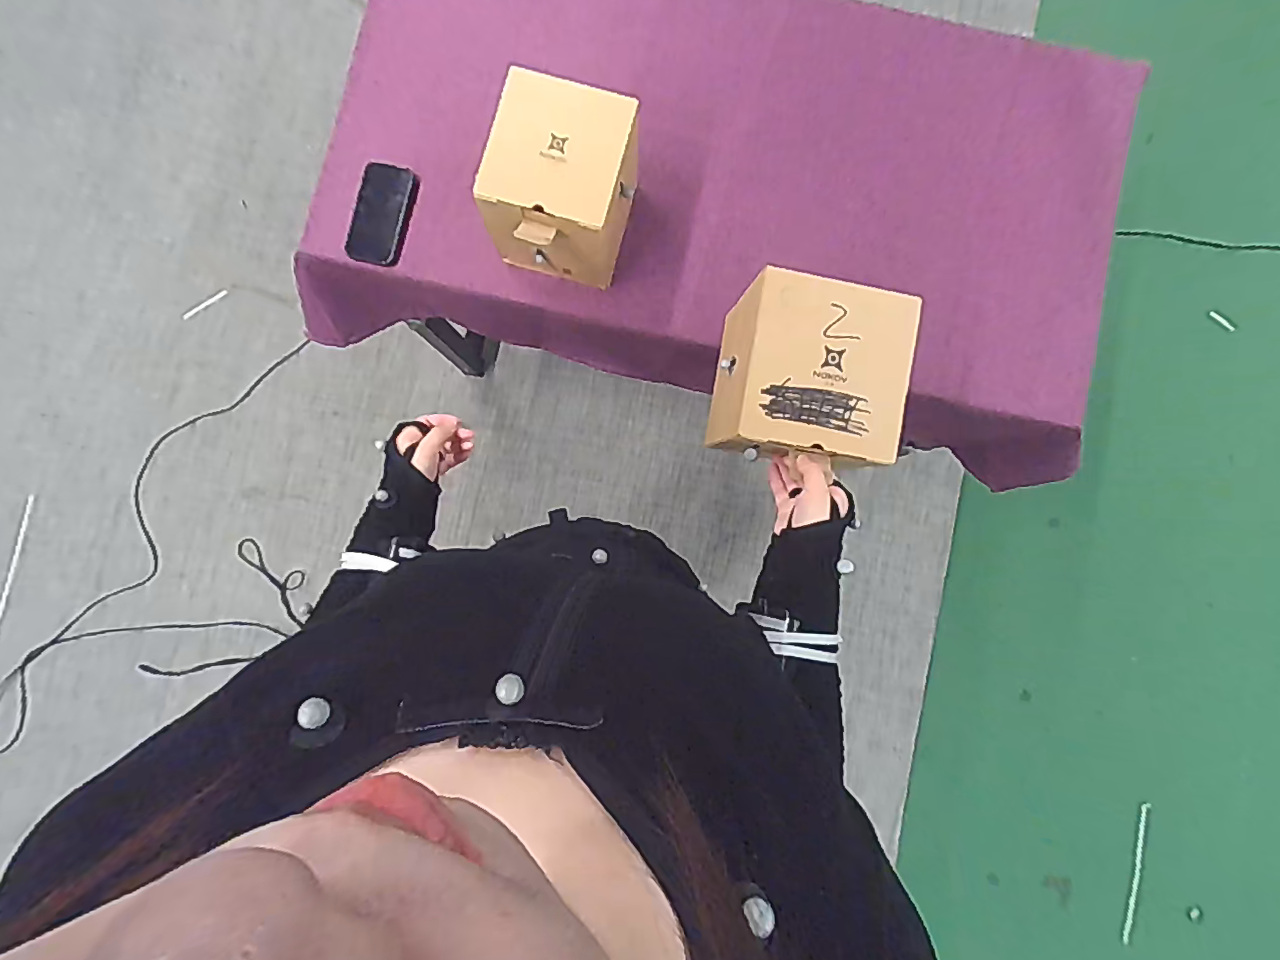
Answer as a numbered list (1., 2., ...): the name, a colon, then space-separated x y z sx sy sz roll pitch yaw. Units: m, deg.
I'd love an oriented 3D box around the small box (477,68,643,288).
1. small box: -0.101 -0.396 0.739 0.168 0.176 0.179 16 86 -1
